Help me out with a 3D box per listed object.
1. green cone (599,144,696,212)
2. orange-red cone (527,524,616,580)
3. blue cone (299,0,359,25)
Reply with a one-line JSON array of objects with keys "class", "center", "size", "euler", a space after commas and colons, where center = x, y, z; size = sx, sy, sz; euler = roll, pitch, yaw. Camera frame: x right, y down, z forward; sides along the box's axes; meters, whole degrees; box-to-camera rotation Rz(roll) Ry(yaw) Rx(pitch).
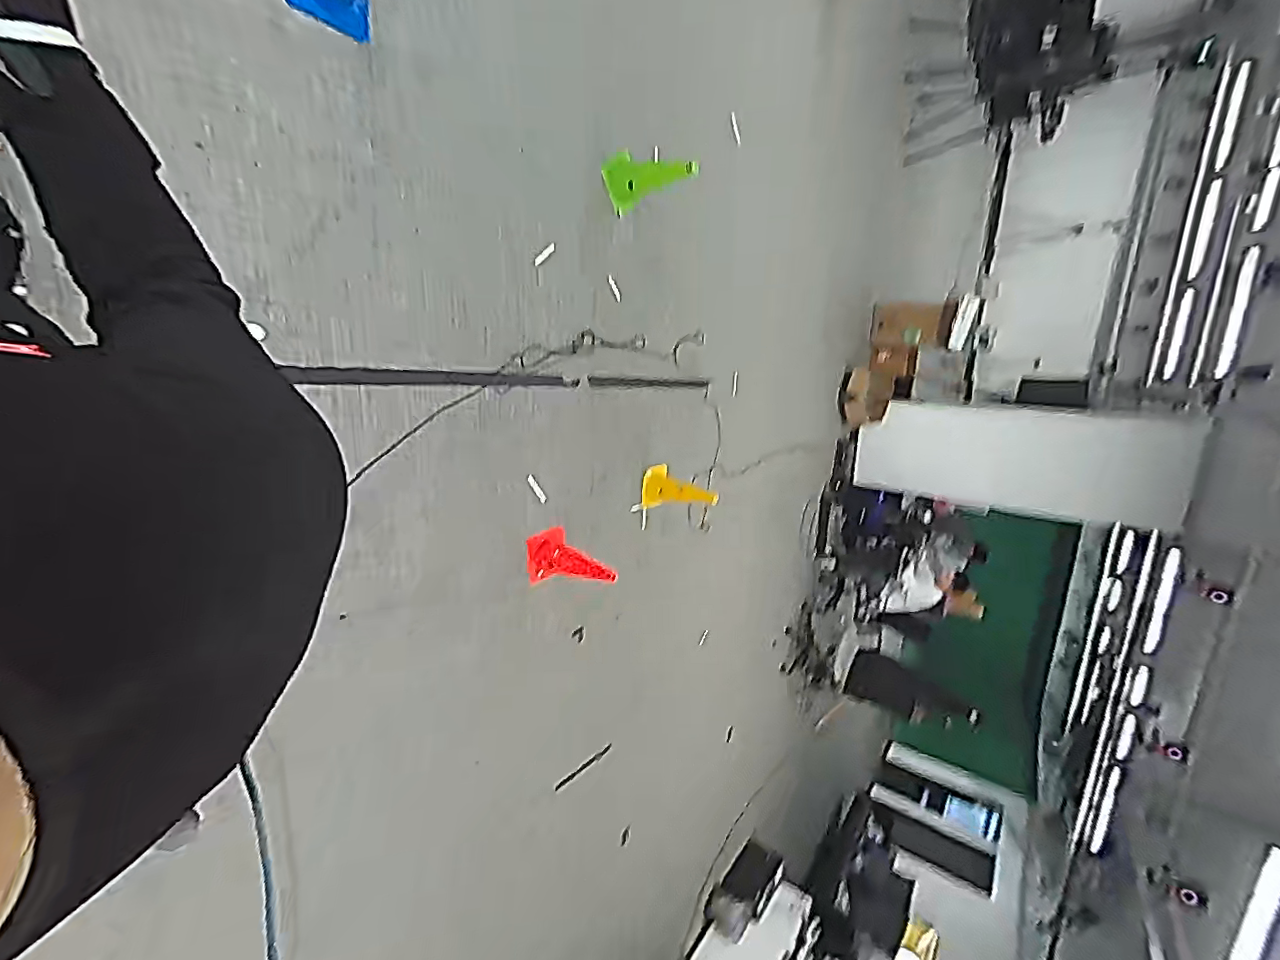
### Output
[{"class": "green cone", "center": [0.056, -1.192, 2.075], "size": [0.200, 0.368, 0.202], "euler": [-56, 137, -30]}, {"class": "orange-red cone", "center": [-0.242, 0.317, 2.076], "size": [0.199, 0.360, 0.198], "euler": [-19, 115, -52]}, {"class": "blue cone", "center": [-0.623, -1.178, 1.169], "size": [0.193, 0.380, 0.192], "euler": [-9, 105, -53]}]
